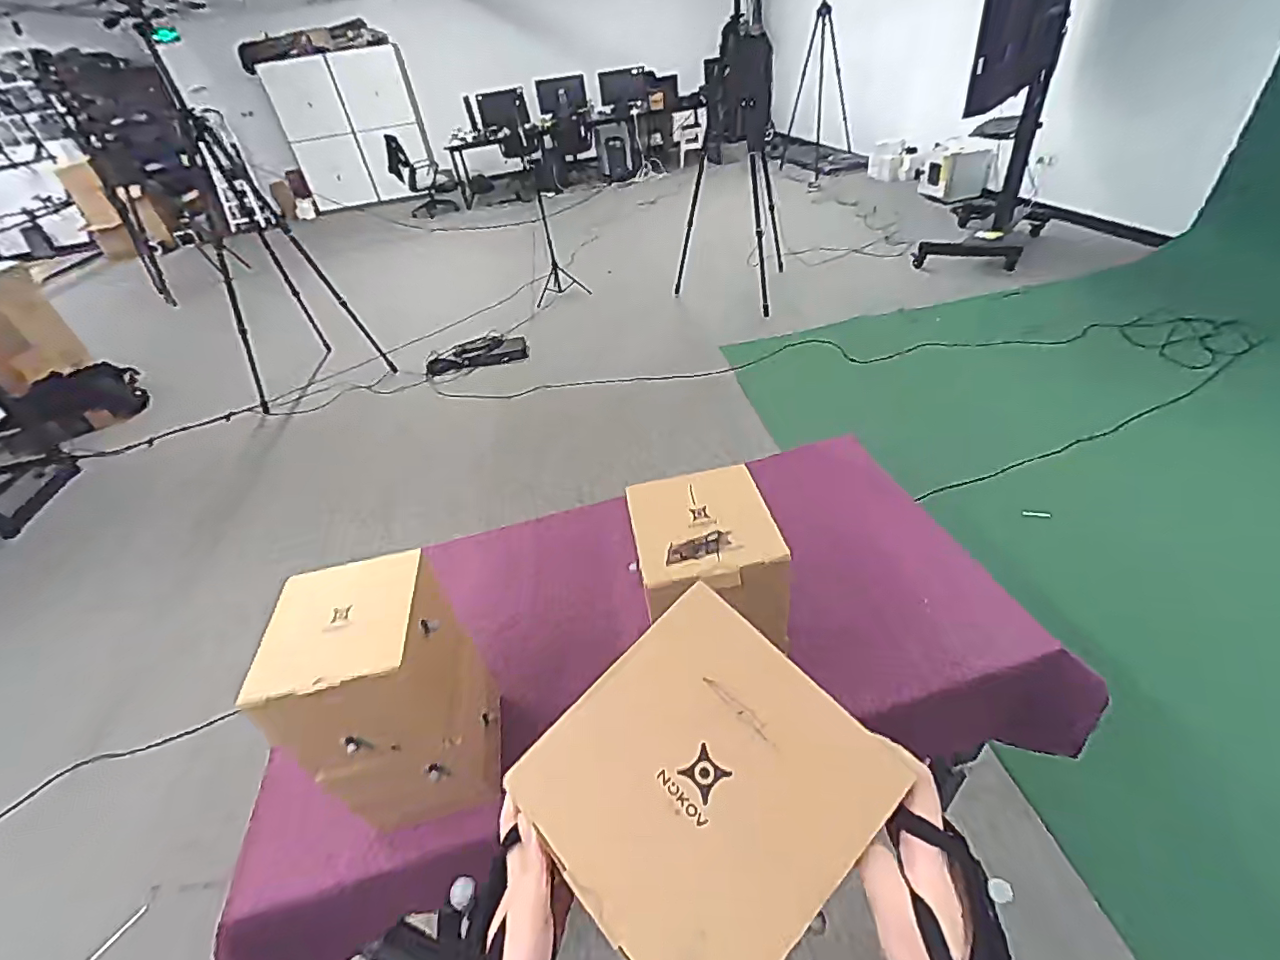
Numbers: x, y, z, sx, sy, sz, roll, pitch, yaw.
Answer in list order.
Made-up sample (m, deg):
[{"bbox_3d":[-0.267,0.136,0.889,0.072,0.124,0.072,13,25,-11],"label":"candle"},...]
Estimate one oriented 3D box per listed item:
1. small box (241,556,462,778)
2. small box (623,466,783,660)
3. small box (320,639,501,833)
[{"bbox_3d":[-0.327,0.226,0.661,0.168,0.176,0.179,-13,39,-4],"label":"small box"},{"bbox_3d":[0.080,0.112,0.704,0.168,0.176,0.179,-12,38,-2],"label":"small box"},{"bbox_3d":[-0.300,0.356,0.756,0.179,0.176,0.168,-14,38,-4],"label":"small box"}]
